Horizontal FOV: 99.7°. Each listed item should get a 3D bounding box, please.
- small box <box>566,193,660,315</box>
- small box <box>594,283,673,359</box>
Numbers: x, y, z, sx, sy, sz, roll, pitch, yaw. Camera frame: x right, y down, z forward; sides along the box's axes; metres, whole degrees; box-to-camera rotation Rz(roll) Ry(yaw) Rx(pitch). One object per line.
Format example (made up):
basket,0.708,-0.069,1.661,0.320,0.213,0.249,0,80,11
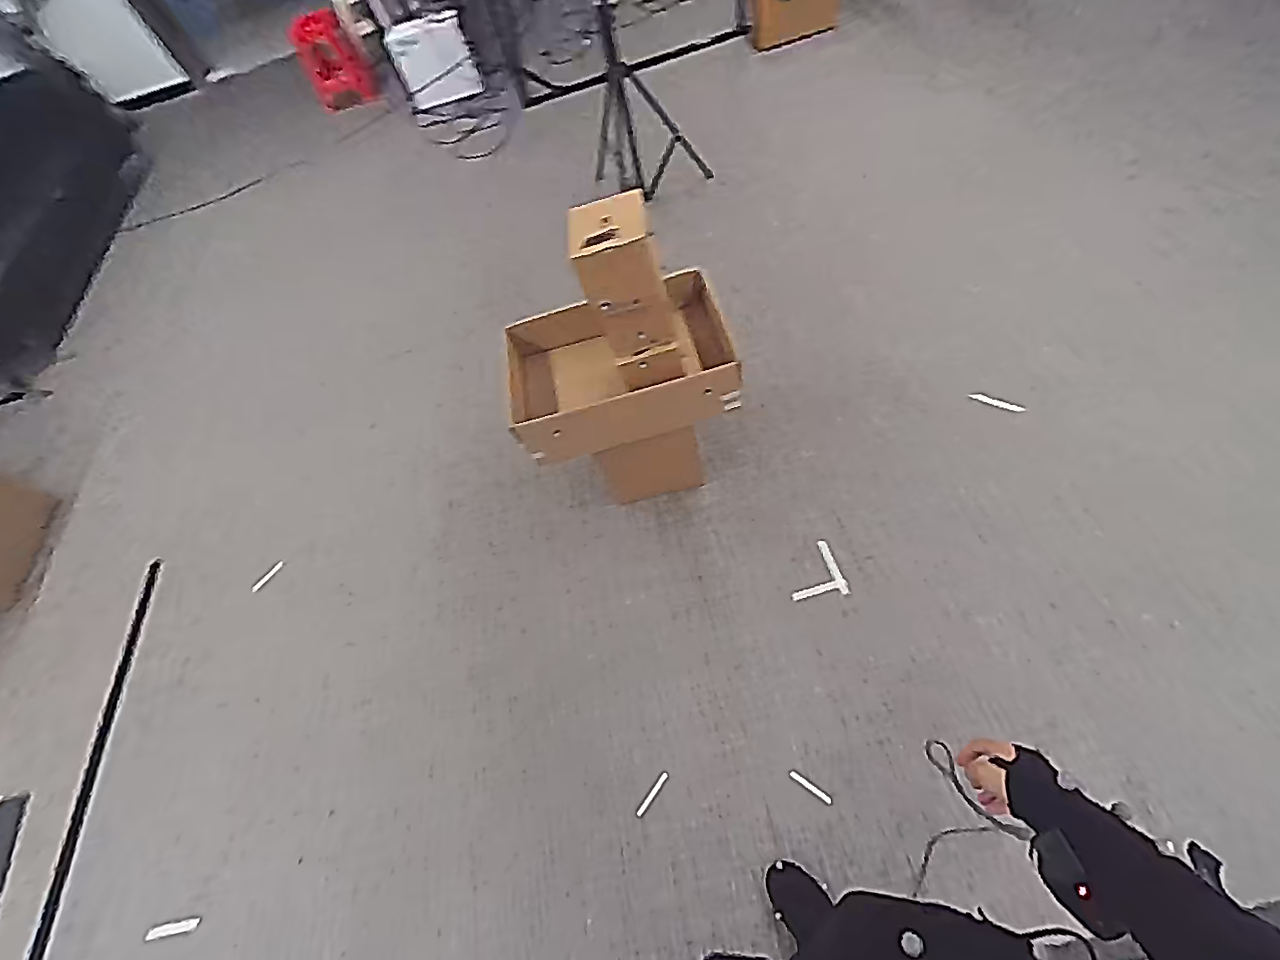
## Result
small box,-0.058,-0.491,1.201,0.168,0.176,0.179,-11,58,10
small box,-0.024,-0.438,1.357,0.168,0.176,0.179,-16,58,8
